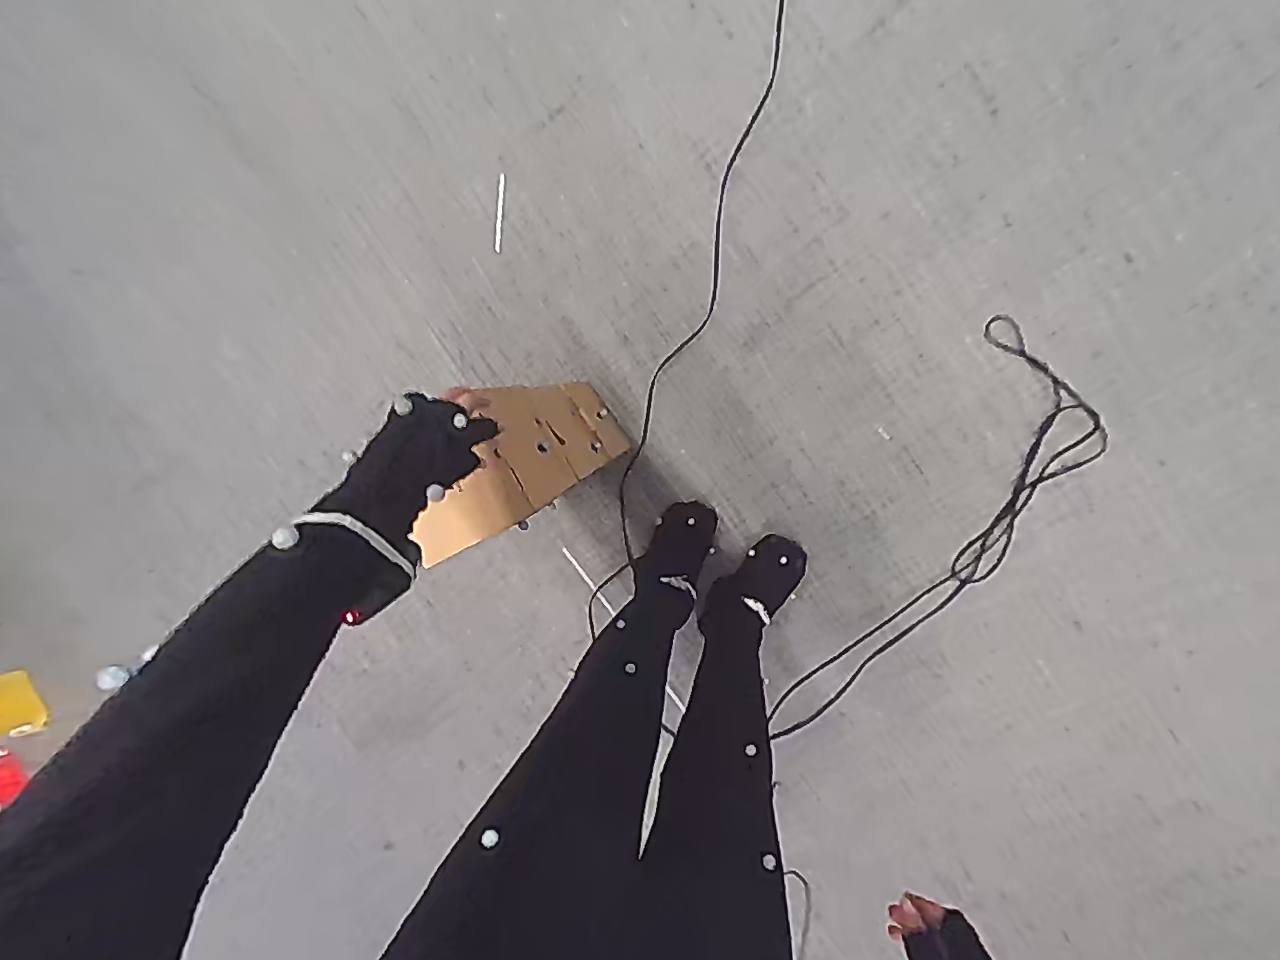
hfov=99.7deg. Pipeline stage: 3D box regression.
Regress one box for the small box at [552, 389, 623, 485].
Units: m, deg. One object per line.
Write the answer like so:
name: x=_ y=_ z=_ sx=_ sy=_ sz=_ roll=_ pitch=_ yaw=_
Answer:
small box: x=-0.148 y=-0.063 z=1.046 sx=0.179 sy=0.176 sz=0.168 roll=-35 pitch=91 yaw=15

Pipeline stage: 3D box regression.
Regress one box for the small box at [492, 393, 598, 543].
small box: x=-0.186 y=-0.029 z=0.887 sx=0.179 sy=0.176 sz=0.168 roll=-32 pitch=94 yaw=17

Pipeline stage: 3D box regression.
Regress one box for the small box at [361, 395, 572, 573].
small box: x=-0.220 y=-0.003 z=0.730 sx=0.179 sy=0.176 sz=0.168 roll=-27 pitch=96 yaw=15
